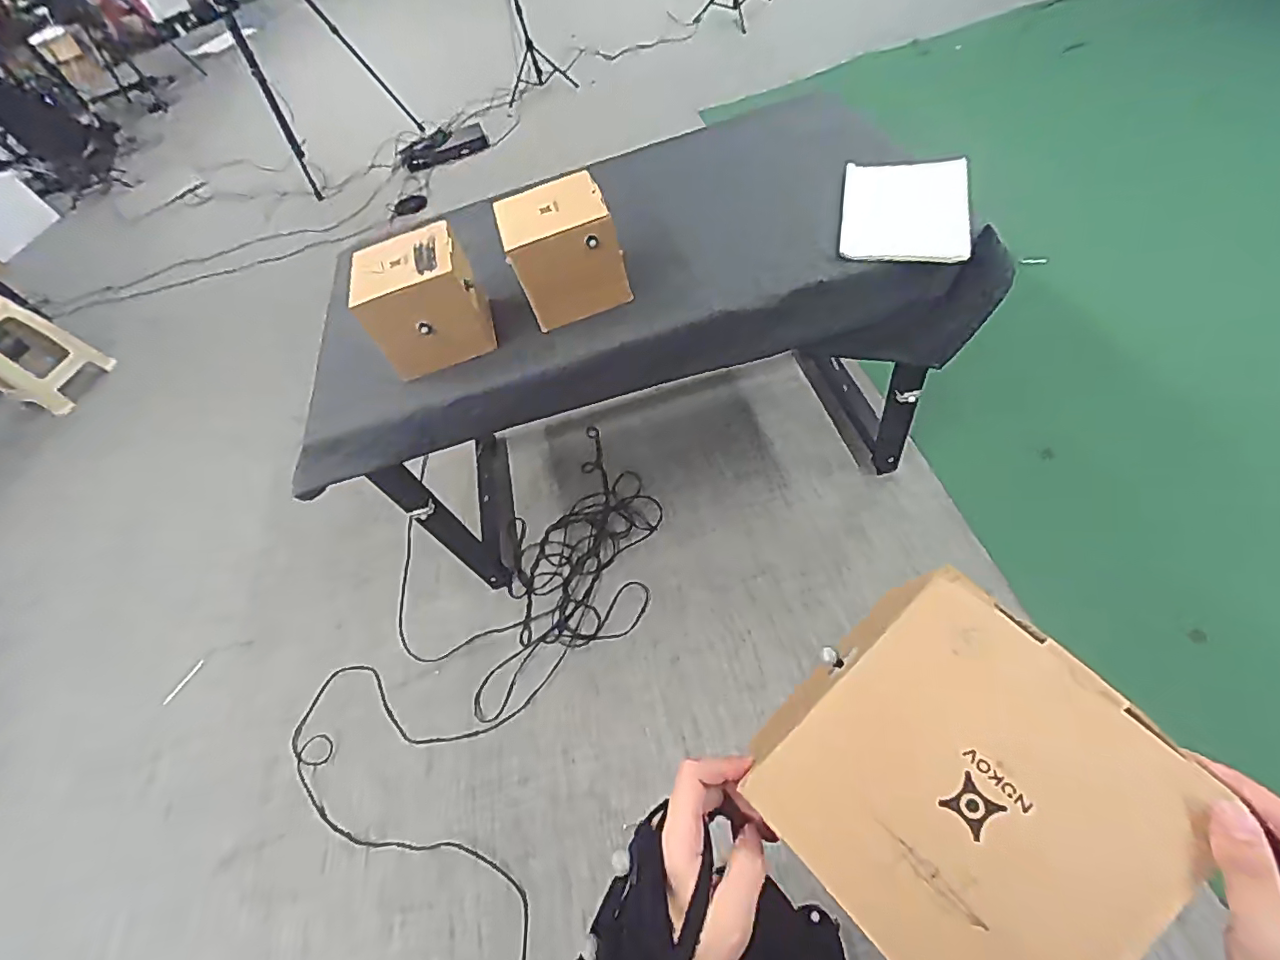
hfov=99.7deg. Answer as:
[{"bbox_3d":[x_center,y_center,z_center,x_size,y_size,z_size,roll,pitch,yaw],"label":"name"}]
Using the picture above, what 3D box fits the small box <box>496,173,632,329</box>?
[{"bbox_3d":[-0.130,-0.397,0.951,0.179,0.176,0.168,-20,54,0],"label":"small box"}]
